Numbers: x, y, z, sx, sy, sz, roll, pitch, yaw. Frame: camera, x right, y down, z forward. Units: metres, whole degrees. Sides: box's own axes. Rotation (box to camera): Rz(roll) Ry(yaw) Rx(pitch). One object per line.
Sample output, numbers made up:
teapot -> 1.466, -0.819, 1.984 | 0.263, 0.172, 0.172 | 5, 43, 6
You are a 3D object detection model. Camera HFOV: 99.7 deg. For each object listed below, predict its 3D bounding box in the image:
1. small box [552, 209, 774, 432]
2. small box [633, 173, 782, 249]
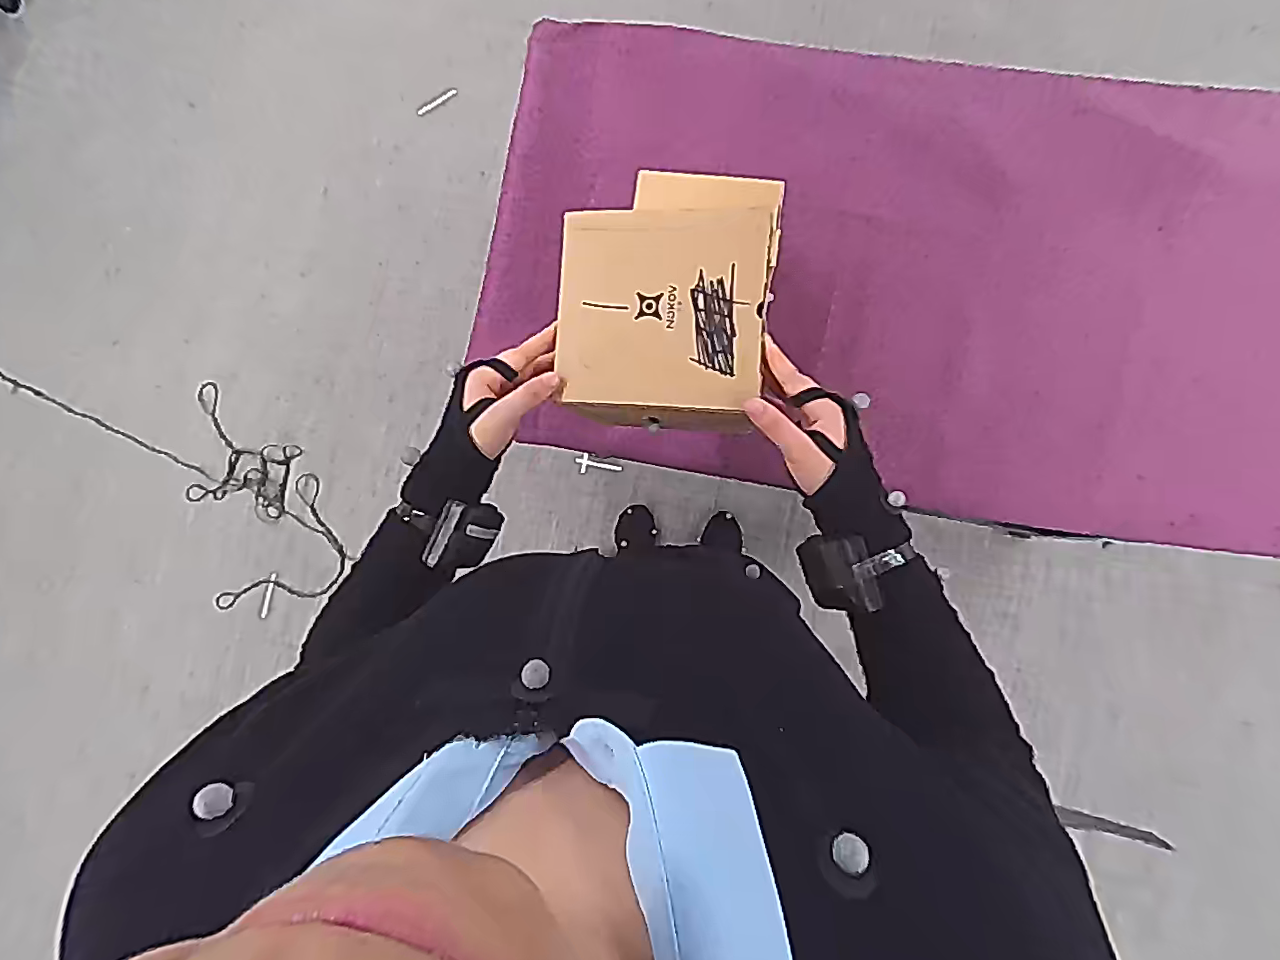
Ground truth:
small box -> 0.029, -0.140, 0.528 | 0.179, 0.176, 0.168 | 5, 89, 10
small box -> 0.080, -0.275, 0.721 | 0.179, 0.176, 0.168 | 8, 86, 7
